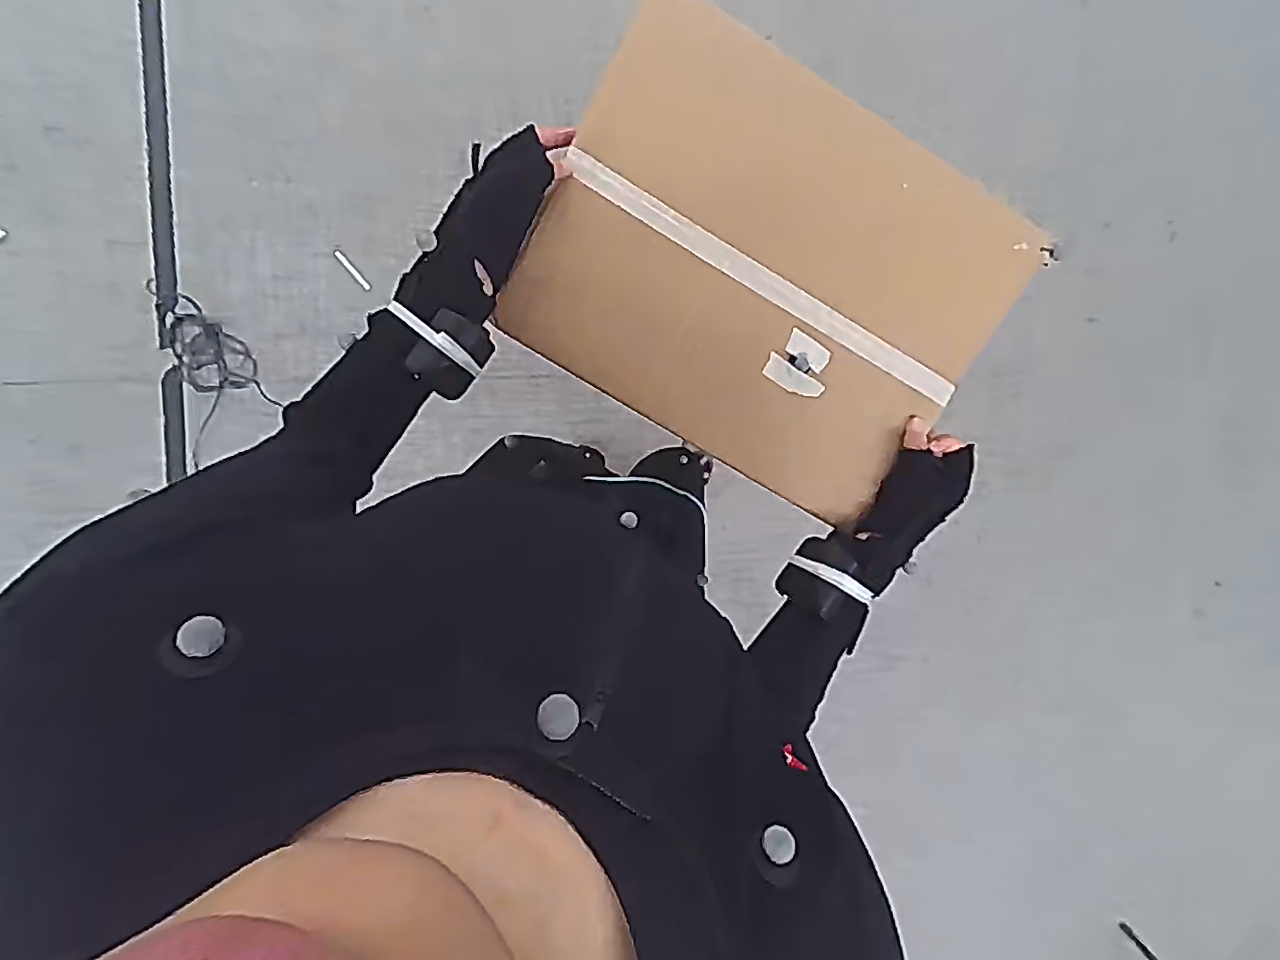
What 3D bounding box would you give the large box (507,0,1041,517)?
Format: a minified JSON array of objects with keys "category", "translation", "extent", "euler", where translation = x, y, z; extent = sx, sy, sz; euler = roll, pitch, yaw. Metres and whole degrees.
[{"category":"large box","translation":[0.118,-0.216,0.641],"extent":[0.408,0.320,0.320],"euler":[30,102,-7]}]
